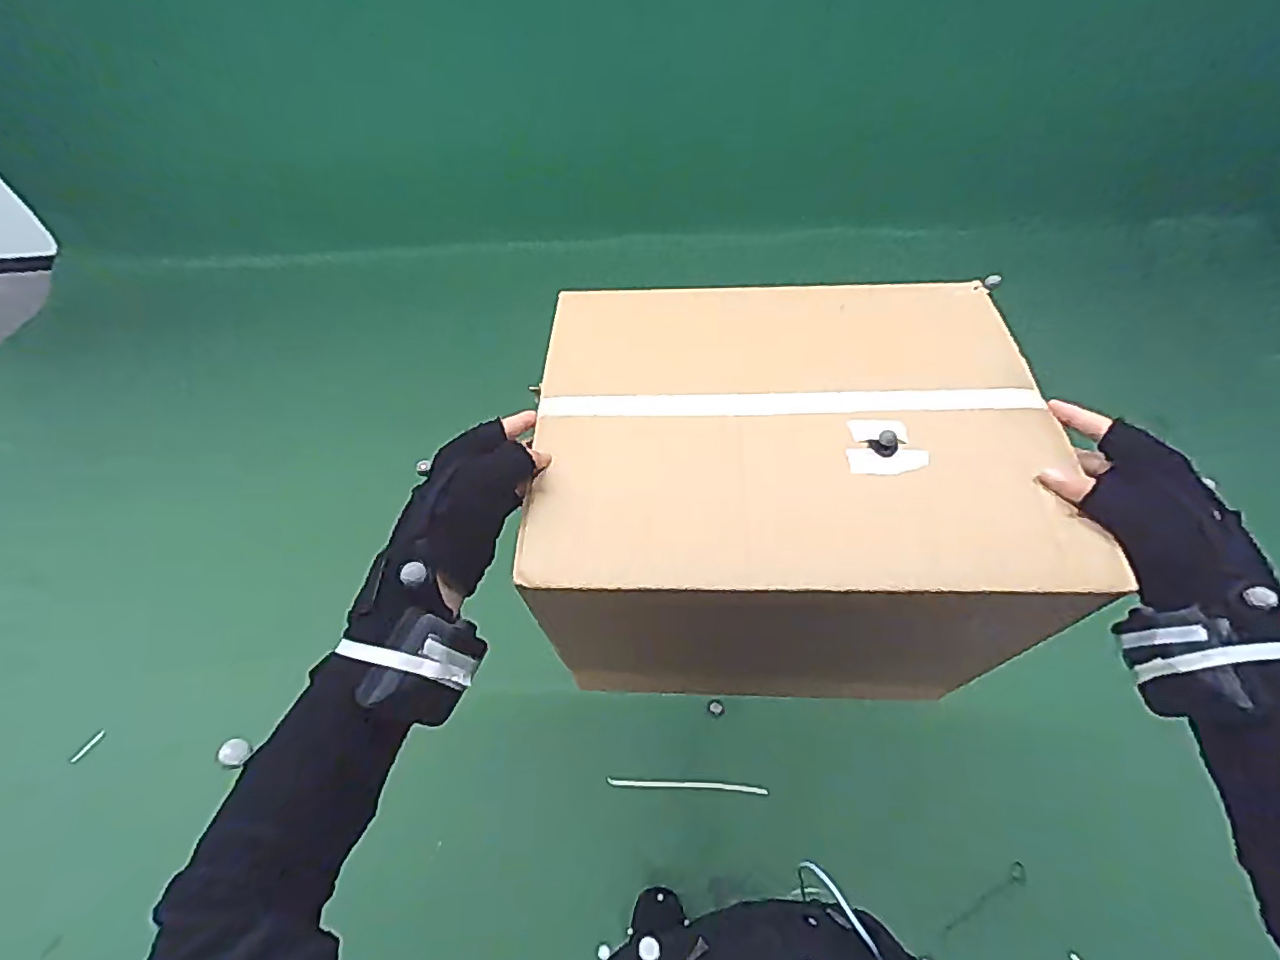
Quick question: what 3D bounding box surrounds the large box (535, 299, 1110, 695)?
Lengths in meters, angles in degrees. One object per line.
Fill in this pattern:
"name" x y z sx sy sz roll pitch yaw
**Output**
"large box" 0.128 0.033 0.577 0.408 0.320 0.320 0 56 3
